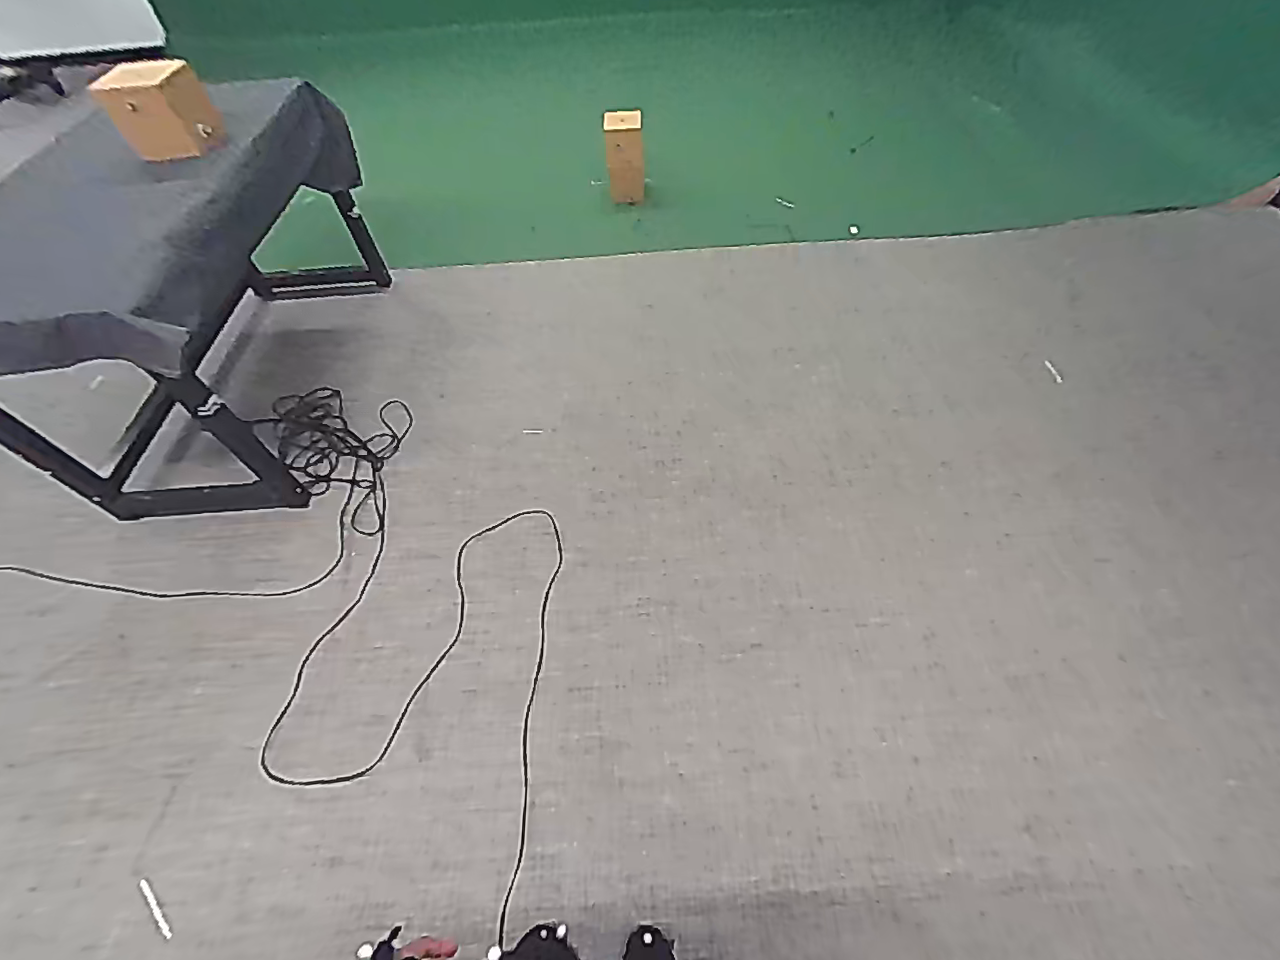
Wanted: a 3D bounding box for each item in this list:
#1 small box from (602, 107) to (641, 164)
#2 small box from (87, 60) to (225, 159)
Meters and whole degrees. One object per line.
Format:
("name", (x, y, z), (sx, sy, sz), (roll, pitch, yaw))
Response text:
("small box", (-0.080, -1.561, 2.456), (0.168, 0.176, 0.179), (-3, 55, 2))
("small box", (-1.251, -0.964, 1.413), (0.179, 0.176, 0.168), (-3, 56, 1))
